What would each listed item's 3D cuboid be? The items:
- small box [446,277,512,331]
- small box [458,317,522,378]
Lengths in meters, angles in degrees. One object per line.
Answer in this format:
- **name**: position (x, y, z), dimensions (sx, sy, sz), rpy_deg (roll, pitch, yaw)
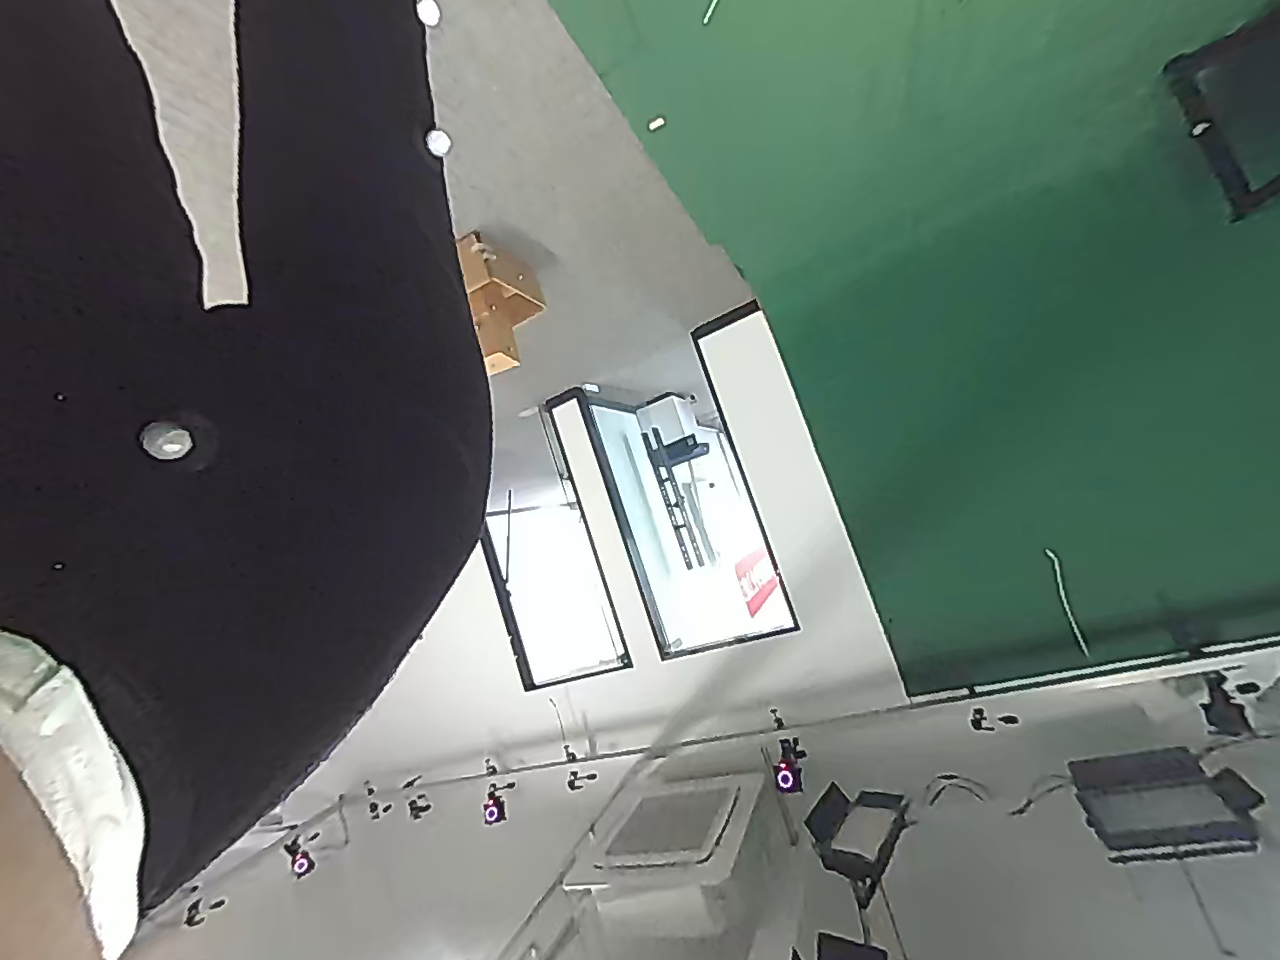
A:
- **small box**: position (-0.641, -0.681, 2.156), dimensions (0.168, 0.176, 0.179), rpy_deg (-17, 173, 17)
- **small box**: position (-0.595, -0.525, 2.145), dimensions (0.168, 0.176, 0.179), rpy_deg (-18, 173, 13)
